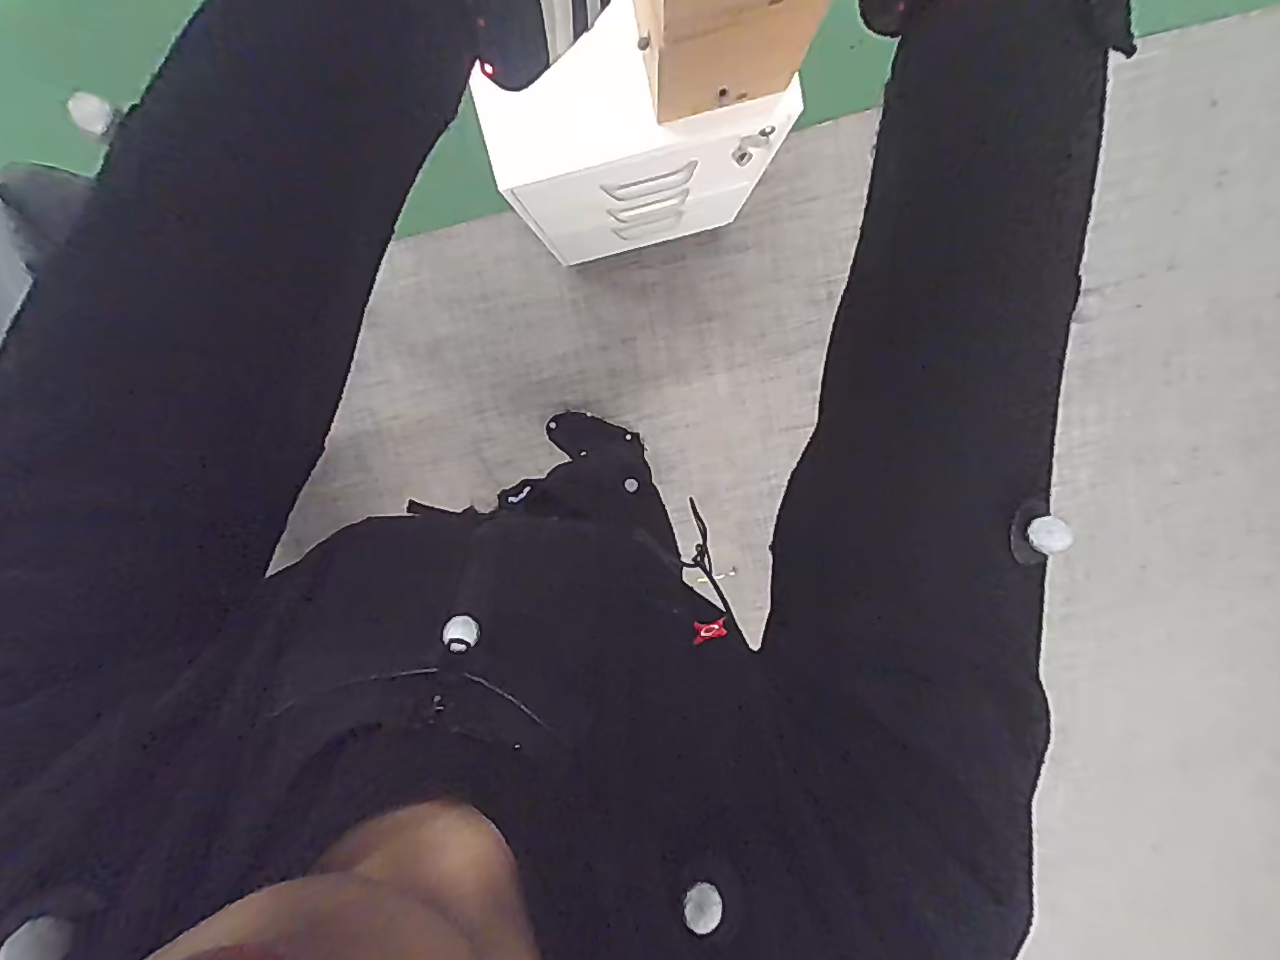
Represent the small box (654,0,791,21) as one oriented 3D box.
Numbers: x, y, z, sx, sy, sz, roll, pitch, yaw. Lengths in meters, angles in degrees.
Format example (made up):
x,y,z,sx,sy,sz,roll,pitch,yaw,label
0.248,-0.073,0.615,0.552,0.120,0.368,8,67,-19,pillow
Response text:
x,y,z,sx,sy,sz,roll,pitch,yaw,label
0.080,-0.493,0.405,0.168,0.176,0.179,-12,102,3,small box
